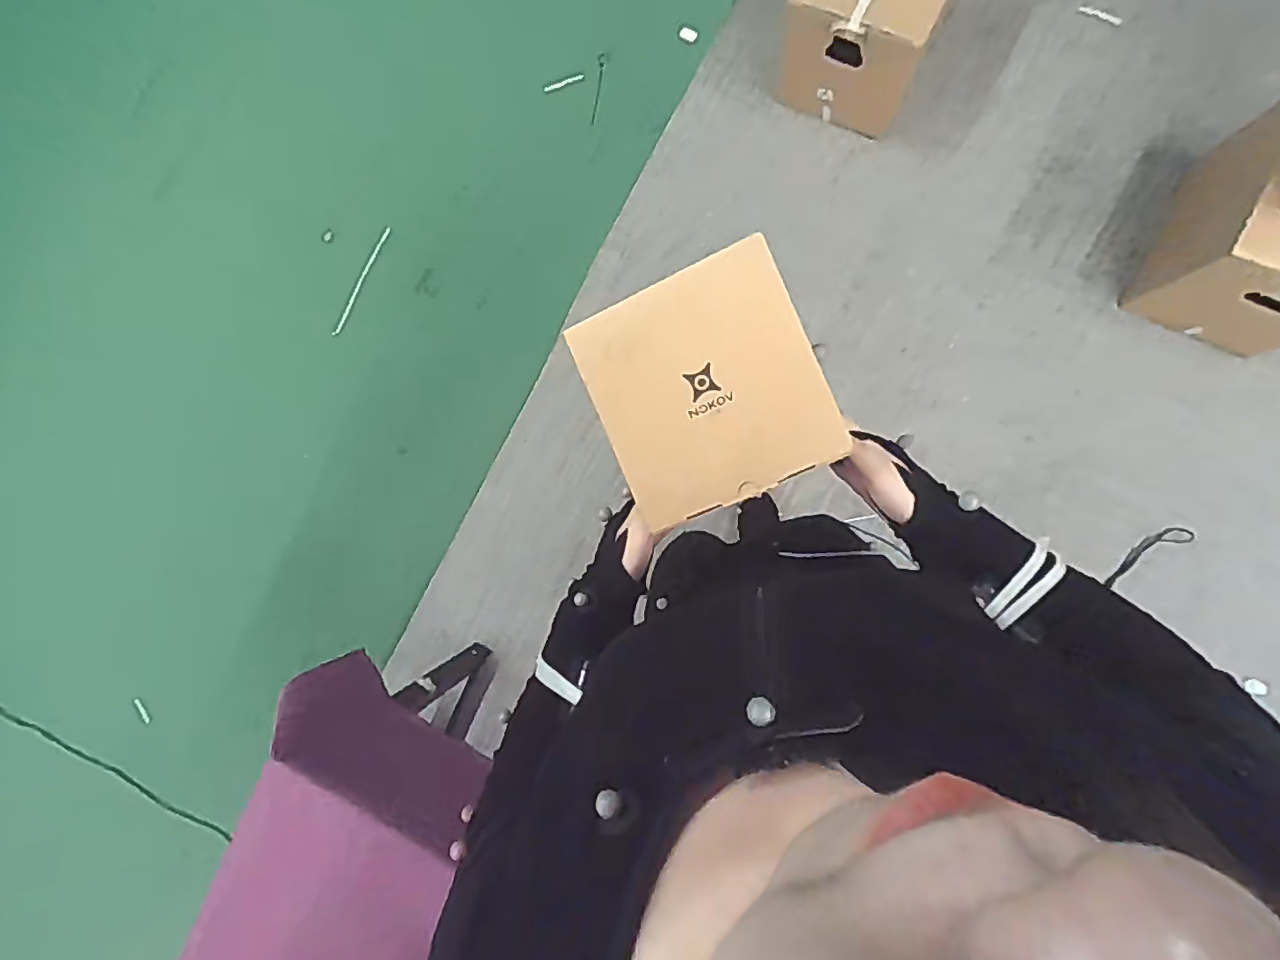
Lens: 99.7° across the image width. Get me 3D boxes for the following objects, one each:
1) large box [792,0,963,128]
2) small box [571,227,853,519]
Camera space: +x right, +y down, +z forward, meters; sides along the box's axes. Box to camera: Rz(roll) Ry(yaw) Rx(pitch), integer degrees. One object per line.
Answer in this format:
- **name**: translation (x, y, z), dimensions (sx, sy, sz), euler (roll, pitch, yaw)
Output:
- **large box**: translation (0.602, -1.169, 1.295), dimensions (0.320, 0.320, 0.408), euler (29, 93, 9)
- **small box**: translation (0.062, -0.082, 0.486), dimensions (0.168, 0.176, 0.179), euler (-24, 90, 11)
